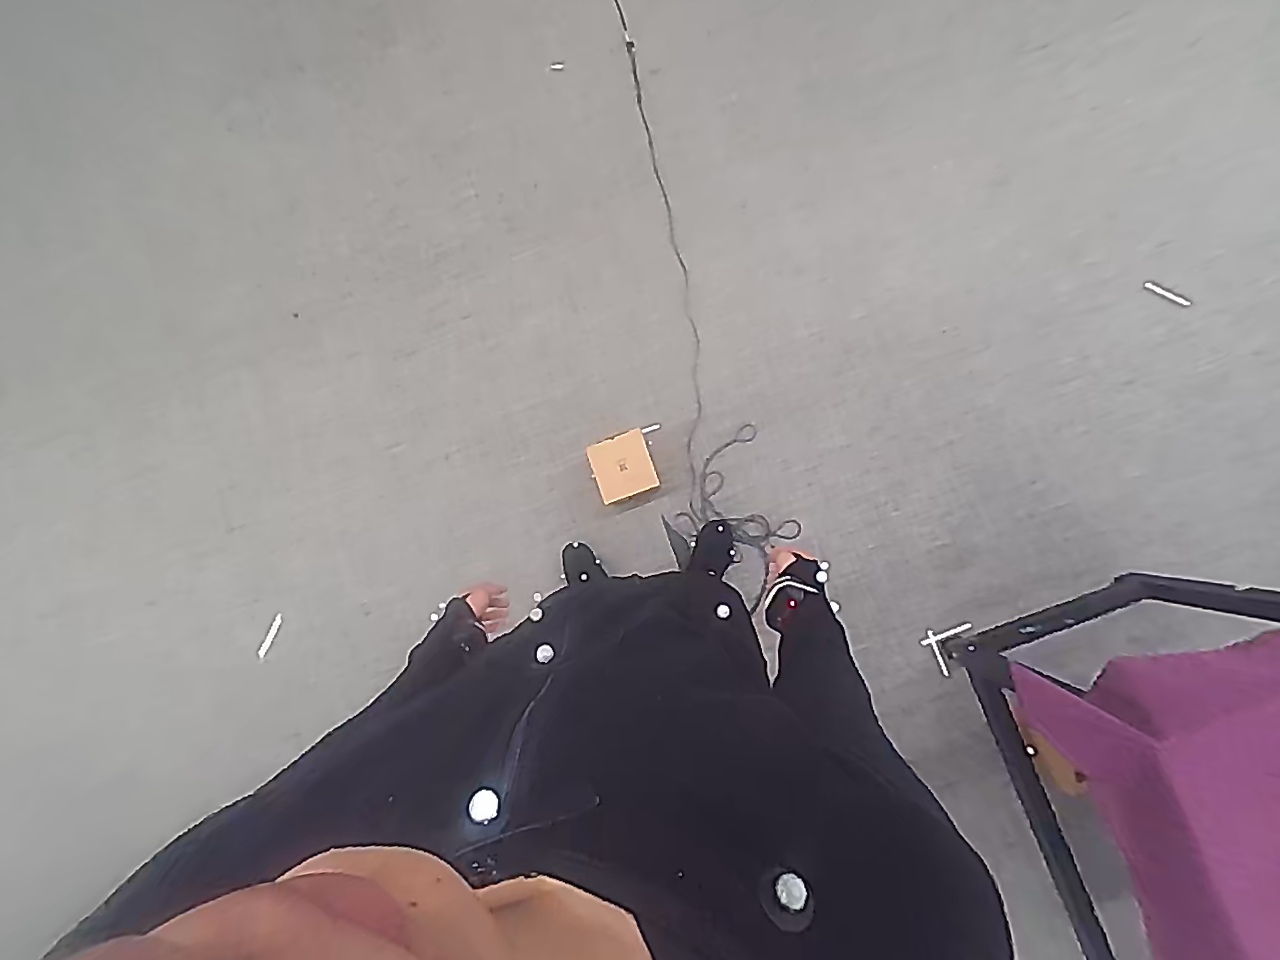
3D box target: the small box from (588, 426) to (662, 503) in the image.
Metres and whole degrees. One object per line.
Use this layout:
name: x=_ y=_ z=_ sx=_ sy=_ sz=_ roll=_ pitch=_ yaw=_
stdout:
small box: x=-0.040 y=-0.039 z=1.580 sx=0.168 sy=0.176 sz=0.179 roll=-20 pitch=86 yaw=3
